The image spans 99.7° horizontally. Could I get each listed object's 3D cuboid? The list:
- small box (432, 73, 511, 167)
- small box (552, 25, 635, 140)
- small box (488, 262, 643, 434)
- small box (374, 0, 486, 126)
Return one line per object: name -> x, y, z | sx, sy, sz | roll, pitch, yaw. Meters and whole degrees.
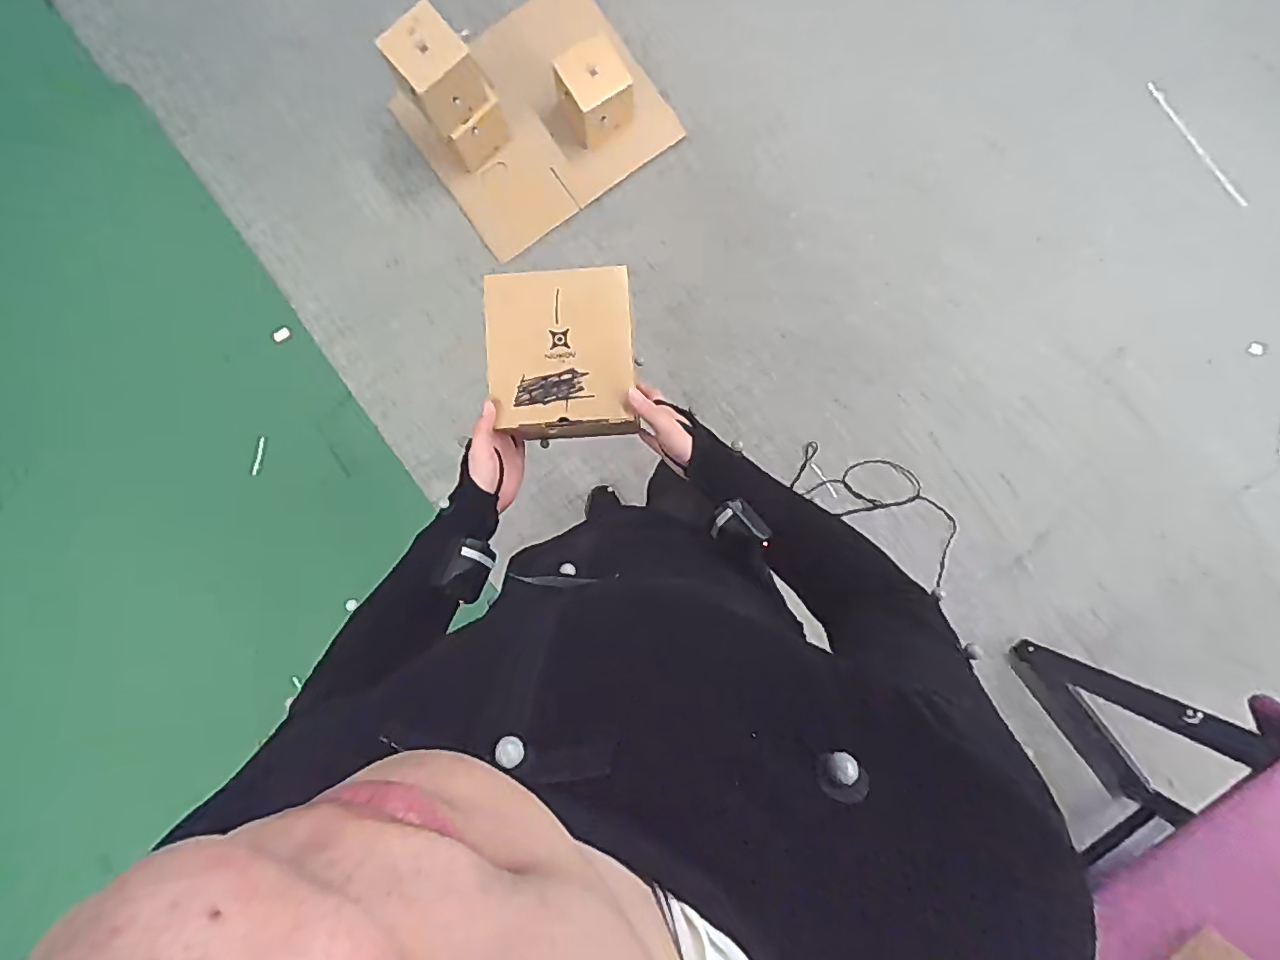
small box -> -0.496, -1.044, 1.537 | 0.168, 0.176, 0.179 | -42, 89, 0
small box -> -0.125, -1.112, 1.535 | 0.168, 0.176, 0.179 | -32, 89, 0
small box -> -0.083, -0.152, 0.680 | 0.168, 0.176, 0.179 | -3, 89, 2
small box -> -0.521, -1.047, 1.372 | 0.168, 0.176, 0.179 | -41, 89, -1
